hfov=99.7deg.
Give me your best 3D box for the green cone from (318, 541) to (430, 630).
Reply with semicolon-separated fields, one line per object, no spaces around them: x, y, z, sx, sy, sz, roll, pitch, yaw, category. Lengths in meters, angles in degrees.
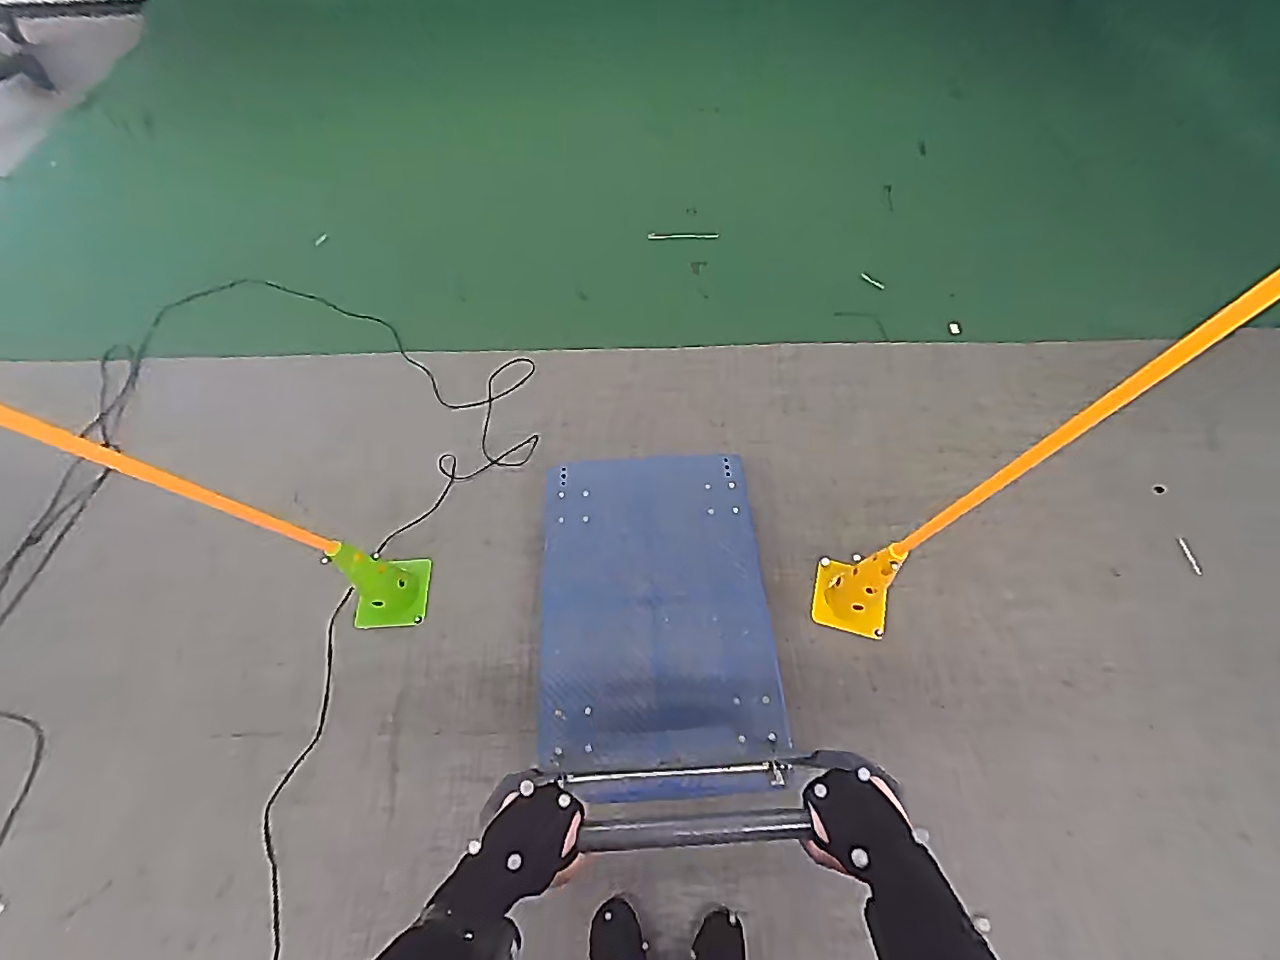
-0.734;0.249;1.443;0.202;0.368;0.200;-5;60;1;green cone
